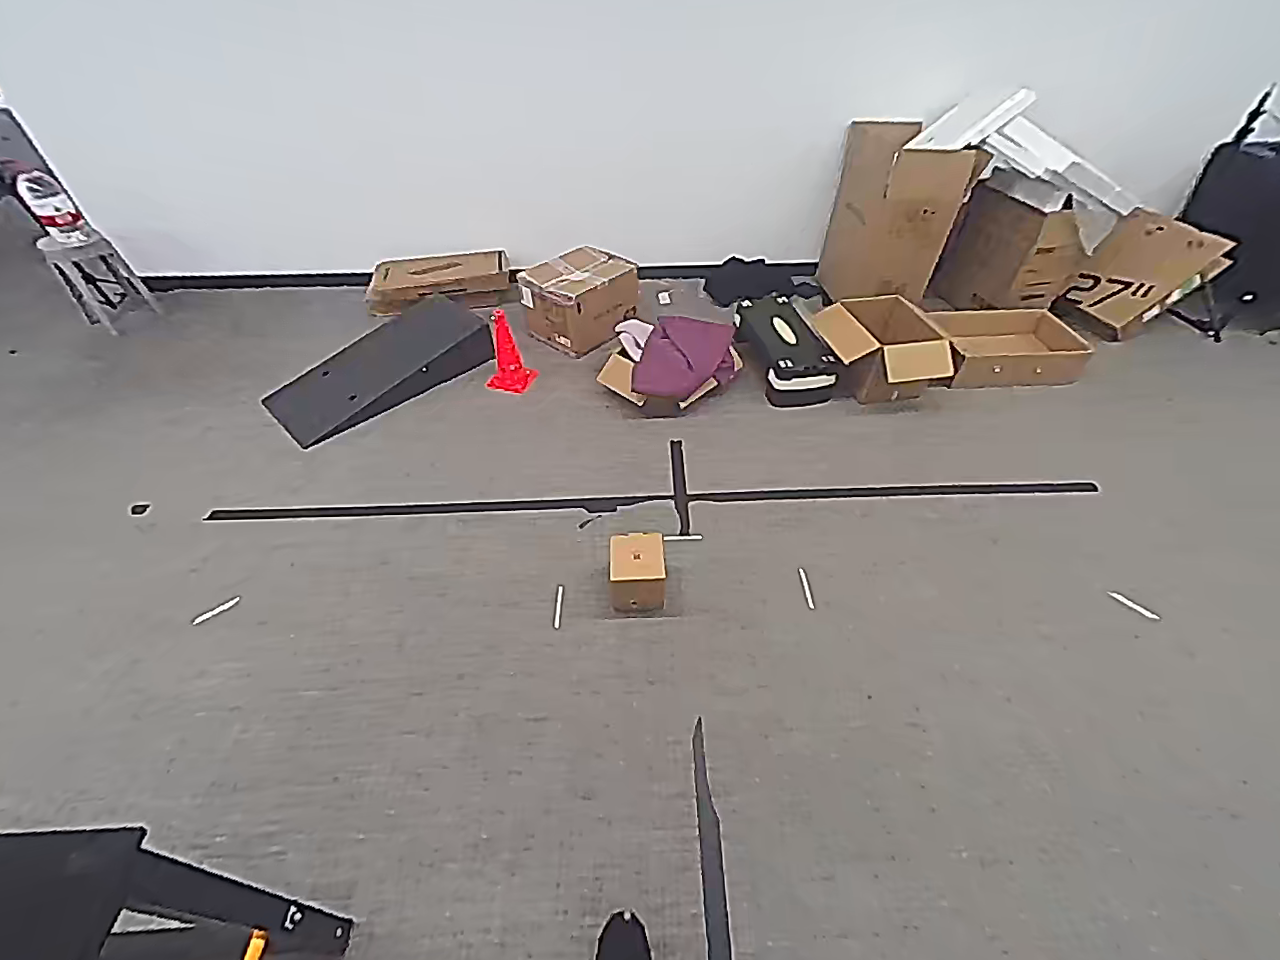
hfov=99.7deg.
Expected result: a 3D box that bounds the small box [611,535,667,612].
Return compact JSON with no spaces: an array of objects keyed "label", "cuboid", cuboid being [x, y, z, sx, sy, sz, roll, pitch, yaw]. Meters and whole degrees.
[{"label":"small box","cuboid":[-0.005,0.295,1.703,0.168,0.176,0.179,-3,46,-1]}]
